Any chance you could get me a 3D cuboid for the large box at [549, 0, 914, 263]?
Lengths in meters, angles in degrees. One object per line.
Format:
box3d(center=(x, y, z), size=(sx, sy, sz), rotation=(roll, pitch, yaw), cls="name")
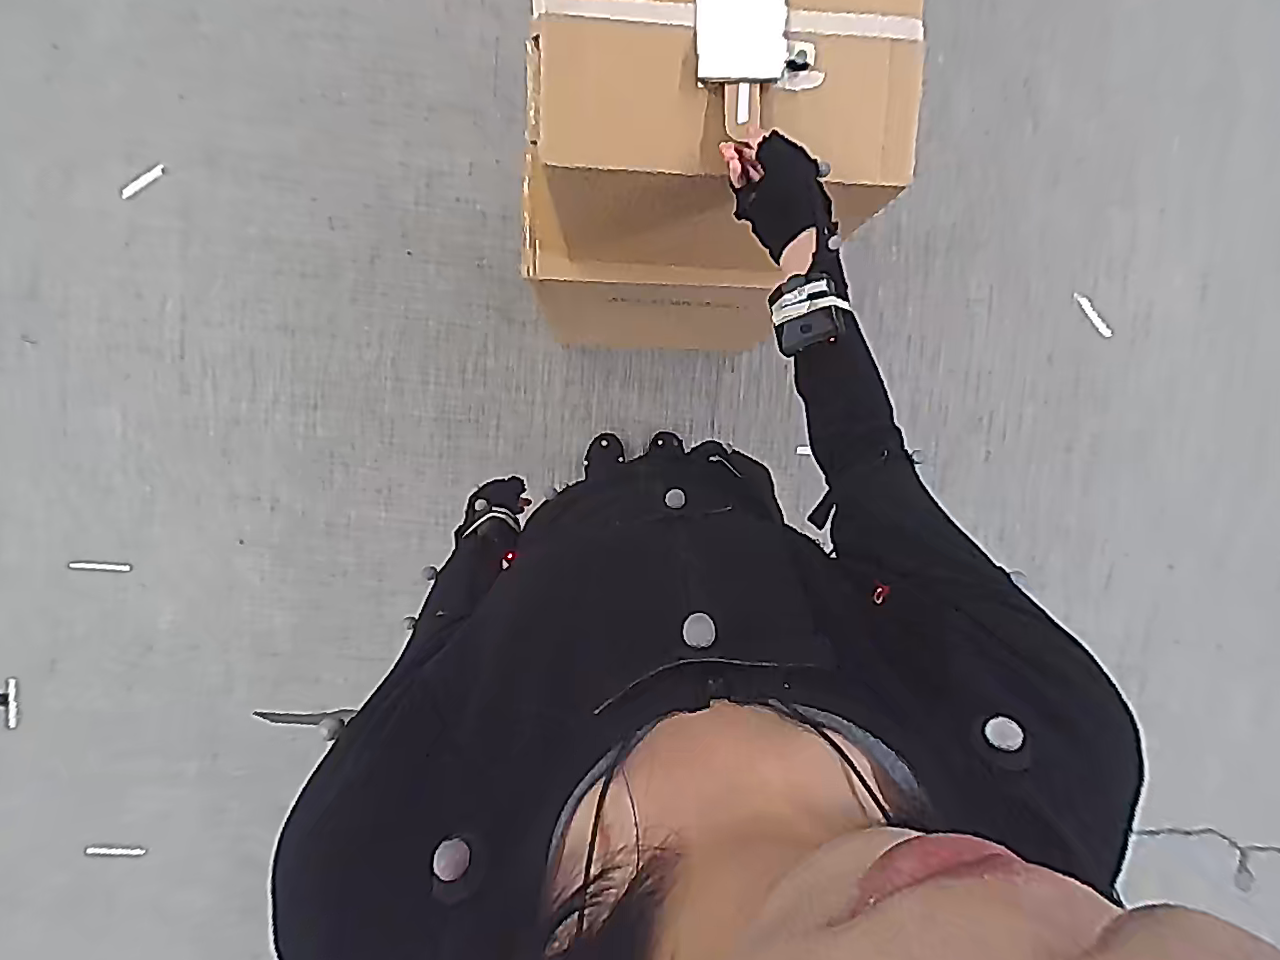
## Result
box3d(center=(0.090, -0.502, 0.730), size=(0.408, 0.320, 0.320), rotation=(1, 95, -4), cls="large box")
